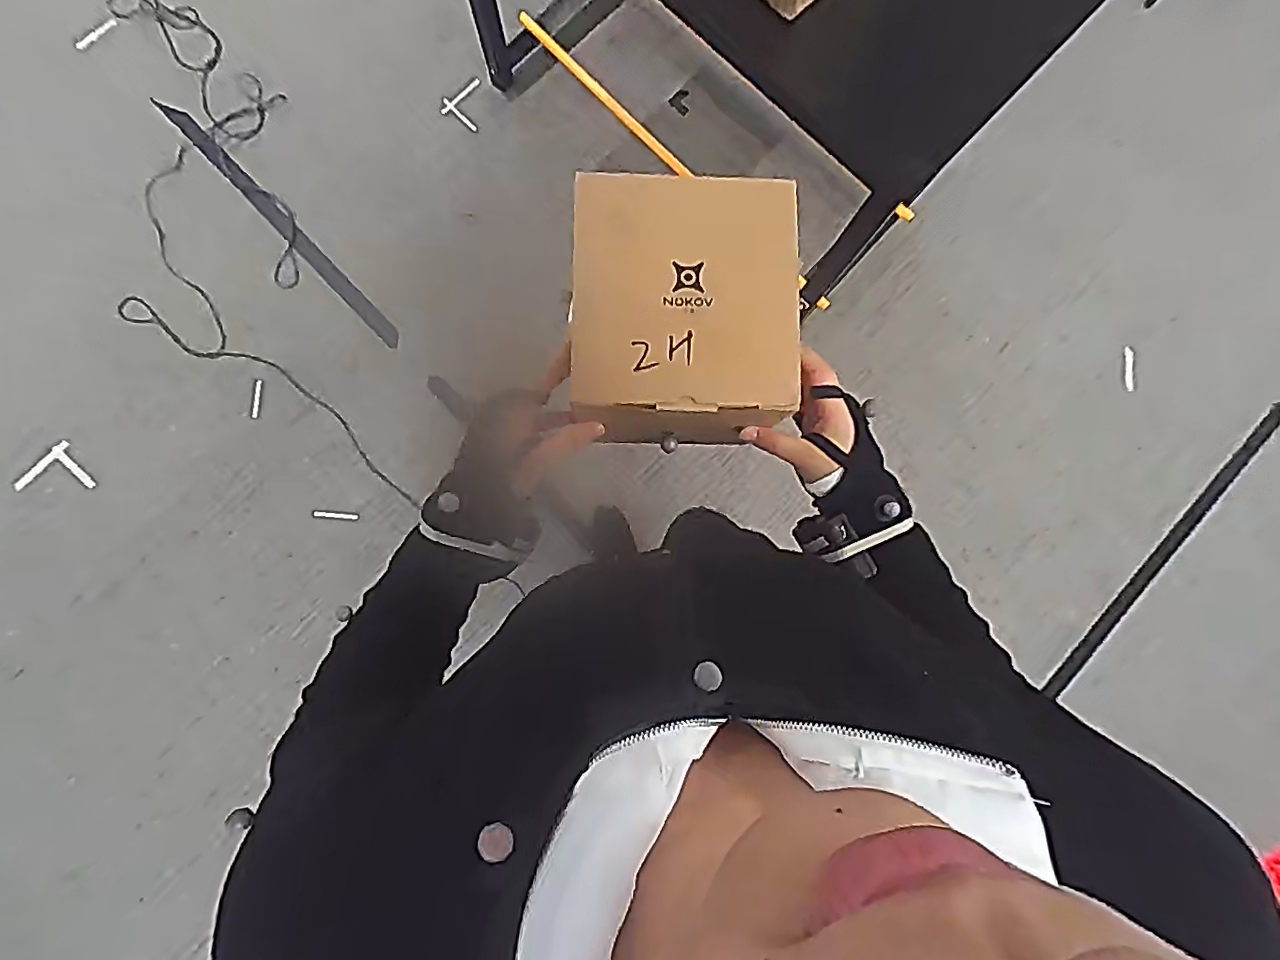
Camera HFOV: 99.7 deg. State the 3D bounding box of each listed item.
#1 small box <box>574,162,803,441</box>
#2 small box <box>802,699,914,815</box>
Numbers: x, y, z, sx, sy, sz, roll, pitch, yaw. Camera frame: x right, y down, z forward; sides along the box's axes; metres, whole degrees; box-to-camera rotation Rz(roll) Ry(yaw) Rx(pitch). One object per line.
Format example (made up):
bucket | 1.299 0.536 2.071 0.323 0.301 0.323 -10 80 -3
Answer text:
small box | 0.032 -0.136 0.468 0.168 0.176 0.179 1 85 -2
small box | 0.551 0.700 1.393 0.179 0.176 0.168 -42 87 -5
